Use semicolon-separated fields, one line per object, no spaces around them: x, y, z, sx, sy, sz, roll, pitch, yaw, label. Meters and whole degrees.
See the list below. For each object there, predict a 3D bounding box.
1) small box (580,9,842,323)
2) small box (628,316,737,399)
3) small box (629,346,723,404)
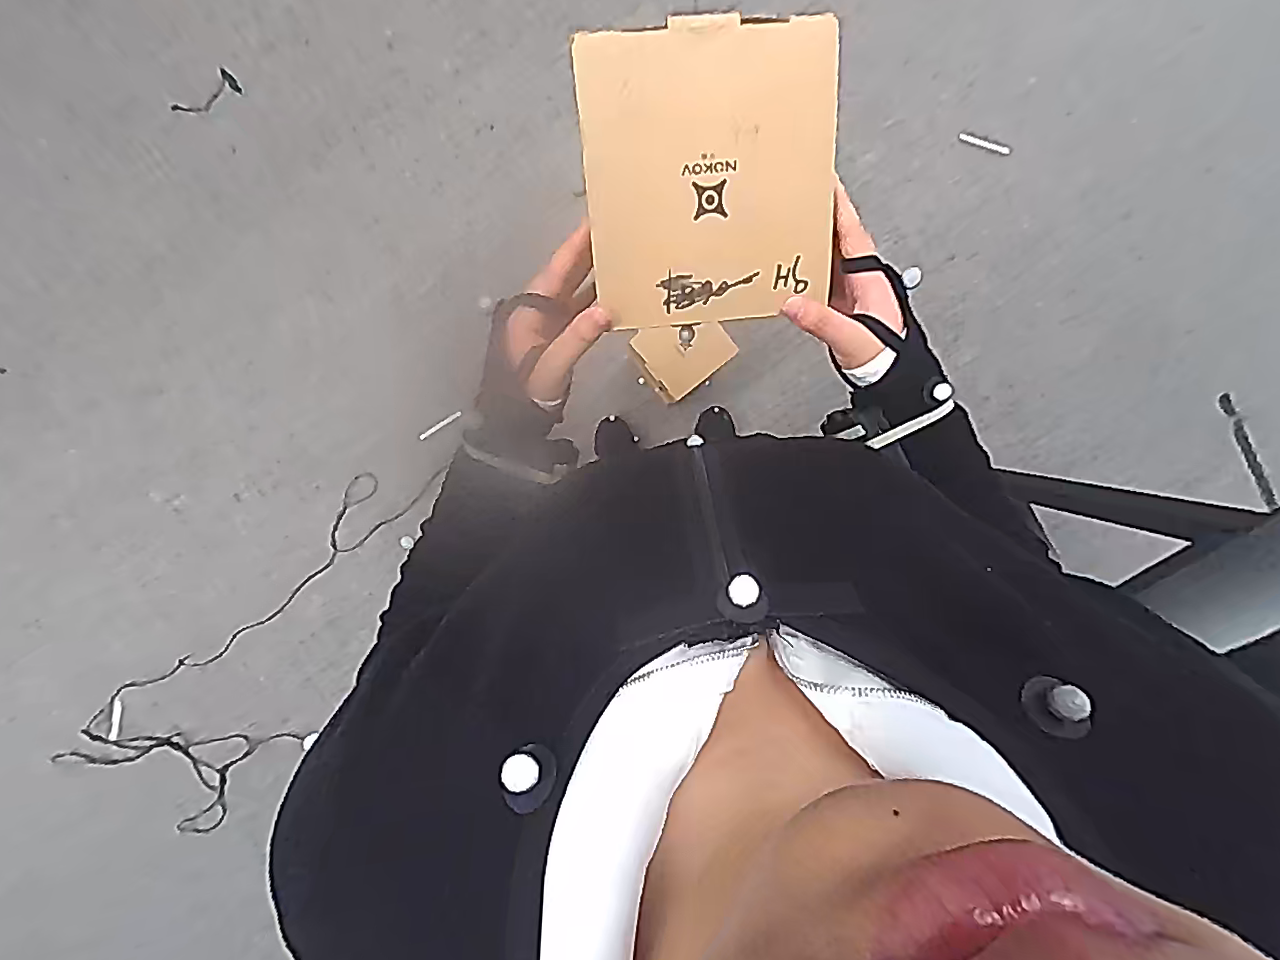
0.043;-0.223;0.427;0.168;0.176;0.179;-6;110;-2;small box
0.091;-0.295;1.218;0.179;0.176;0.168;-39;97;3;small box
0.086;-0.310;1.380;0.179;0.176;0.168;-36;96;5;small box
